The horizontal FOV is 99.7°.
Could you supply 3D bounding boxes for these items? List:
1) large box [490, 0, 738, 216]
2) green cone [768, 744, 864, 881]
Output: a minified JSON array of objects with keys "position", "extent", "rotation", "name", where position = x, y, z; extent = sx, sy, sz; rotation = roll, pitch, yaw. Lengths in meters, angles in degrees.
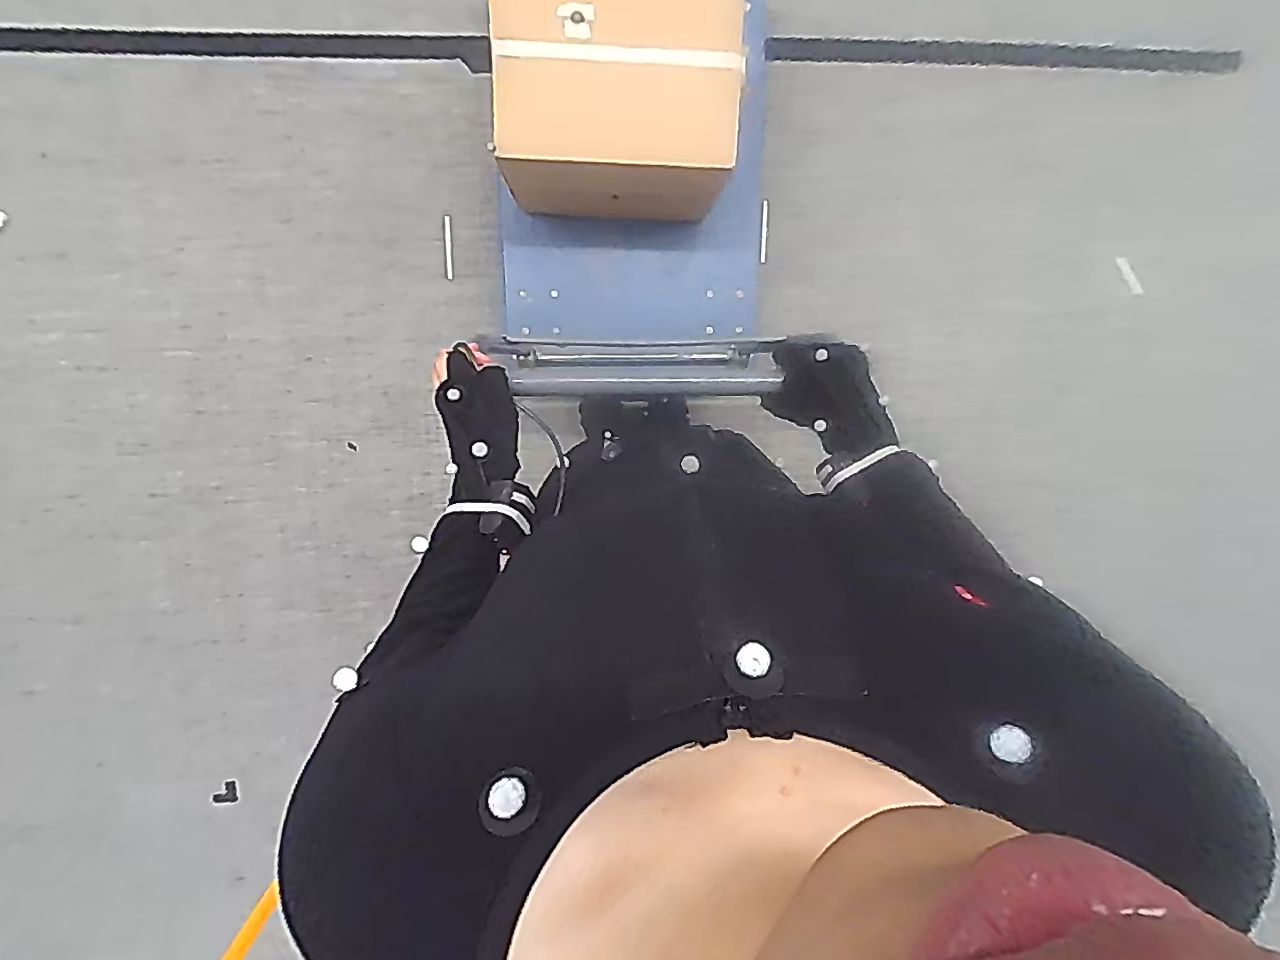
[{"position":[-0.045,-0.707,1.025],"extent":[0.408,0.320,0.320],"rotation":[0,100,-3],"name":"large box"},{"position":[0.511,0.935,1.494],"extent":[0.202,0.368,0.200],"rotation":[3,100,-5],"name":"green cone"}]
